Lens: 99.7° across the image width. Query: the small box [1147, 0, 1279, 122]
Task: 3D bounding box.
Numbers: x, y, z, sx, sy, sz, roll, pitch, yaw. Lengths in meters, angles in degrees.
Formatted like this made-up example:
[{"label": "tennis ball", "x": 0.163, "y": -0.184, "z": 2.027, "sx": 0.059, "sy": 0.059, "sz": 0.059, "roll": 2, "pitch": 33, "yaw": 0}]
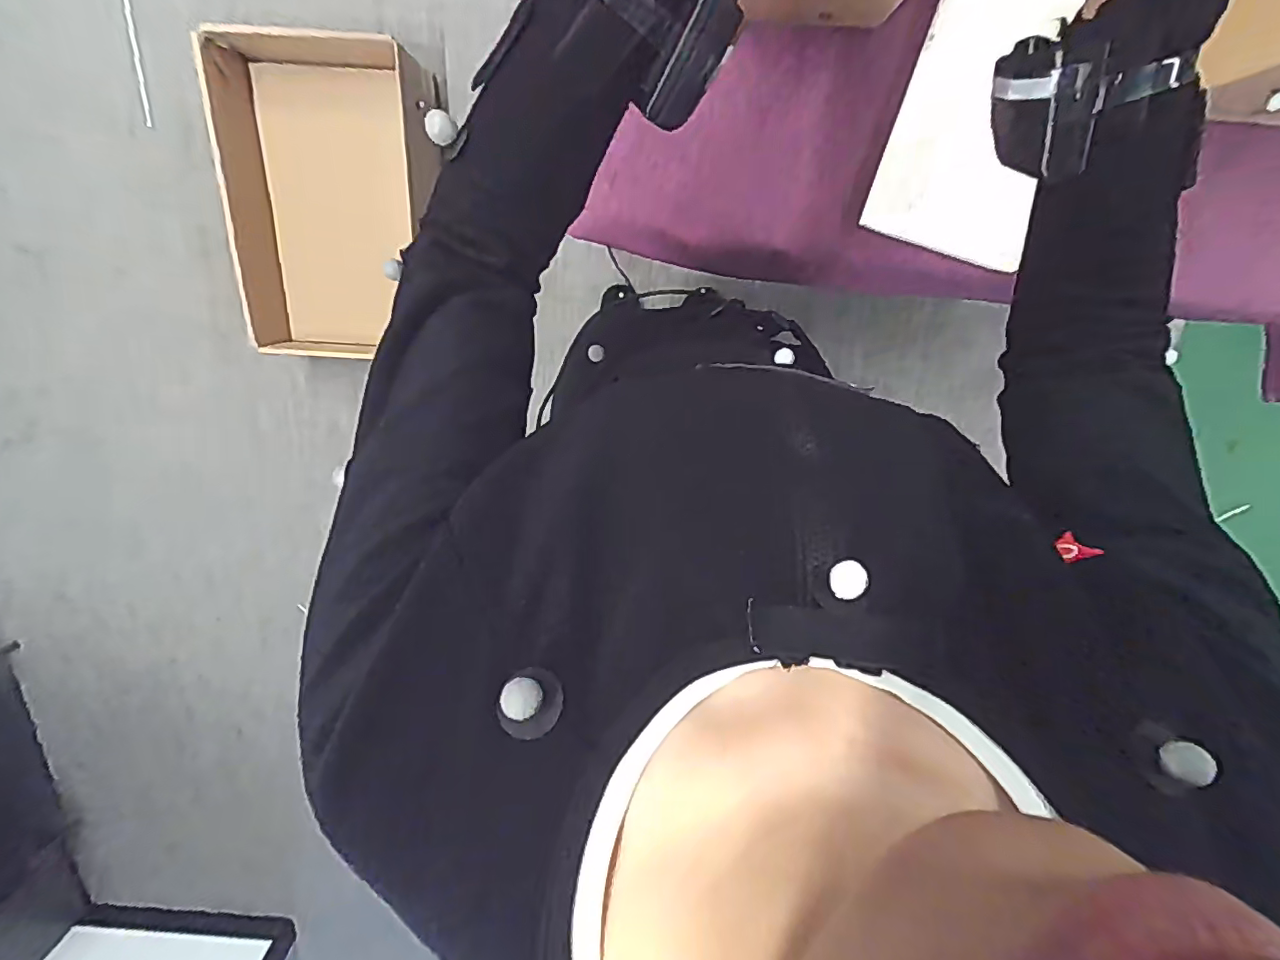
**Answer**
[{"label": "small box", "x": 0.622, "y": -0.444, "z": 0.483, "sx": 0.168, "sy": 0.176, "sz": 0.179, "roll": 5, "pitch": 109, "yaw": 0}]
